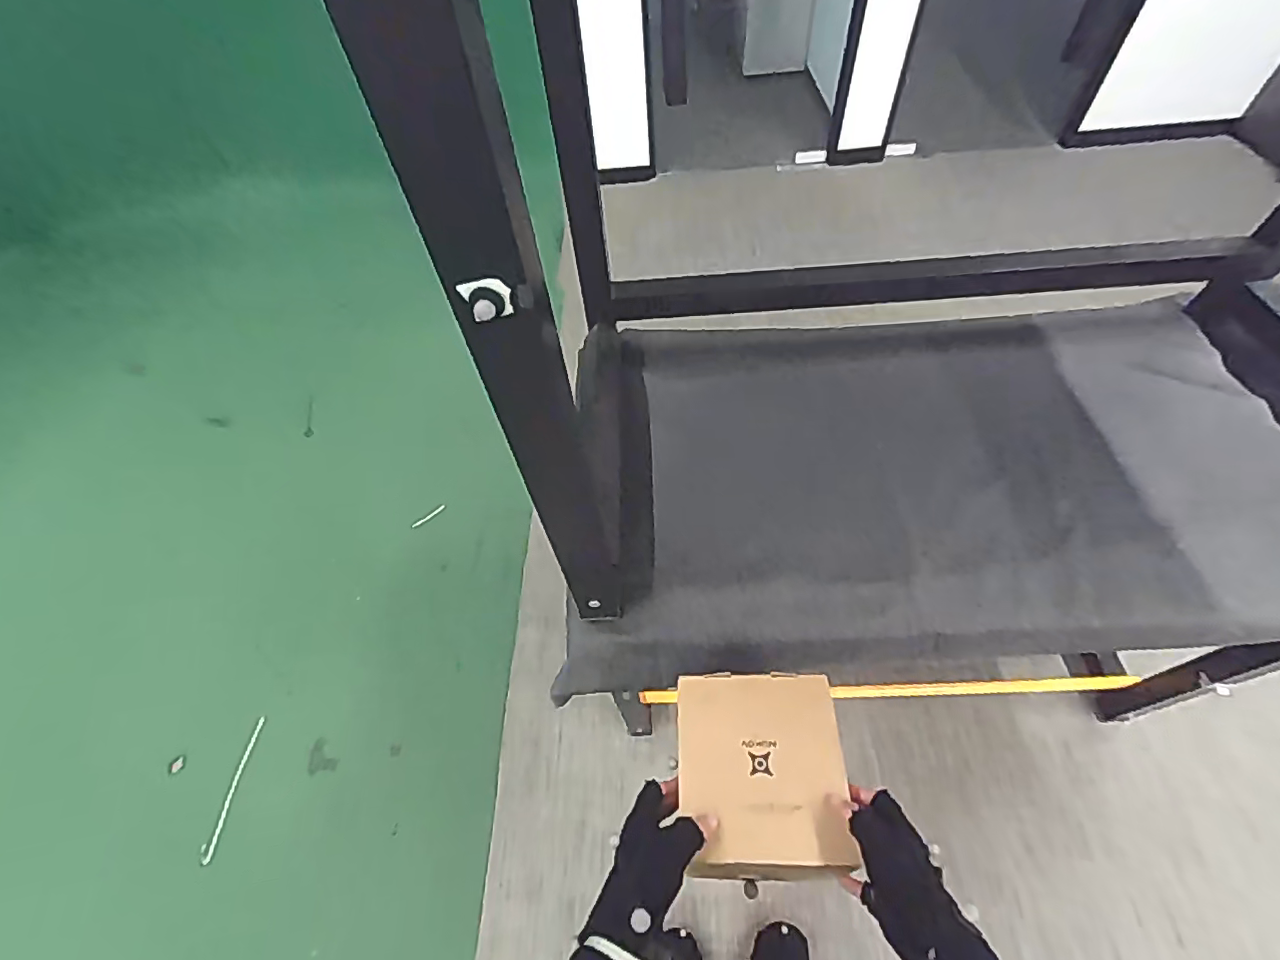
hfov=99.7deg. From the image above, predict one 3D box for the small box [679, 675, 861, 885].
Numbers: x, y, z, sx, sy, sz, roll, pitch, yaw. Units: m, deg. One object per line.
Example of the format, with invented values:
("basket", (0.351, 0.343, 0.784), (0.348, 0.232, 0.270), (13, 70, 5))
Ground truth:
("small box", (0.130, 0.338, 0.609), (0.168, 0.176, 0.179), (-4, 49, 6))
